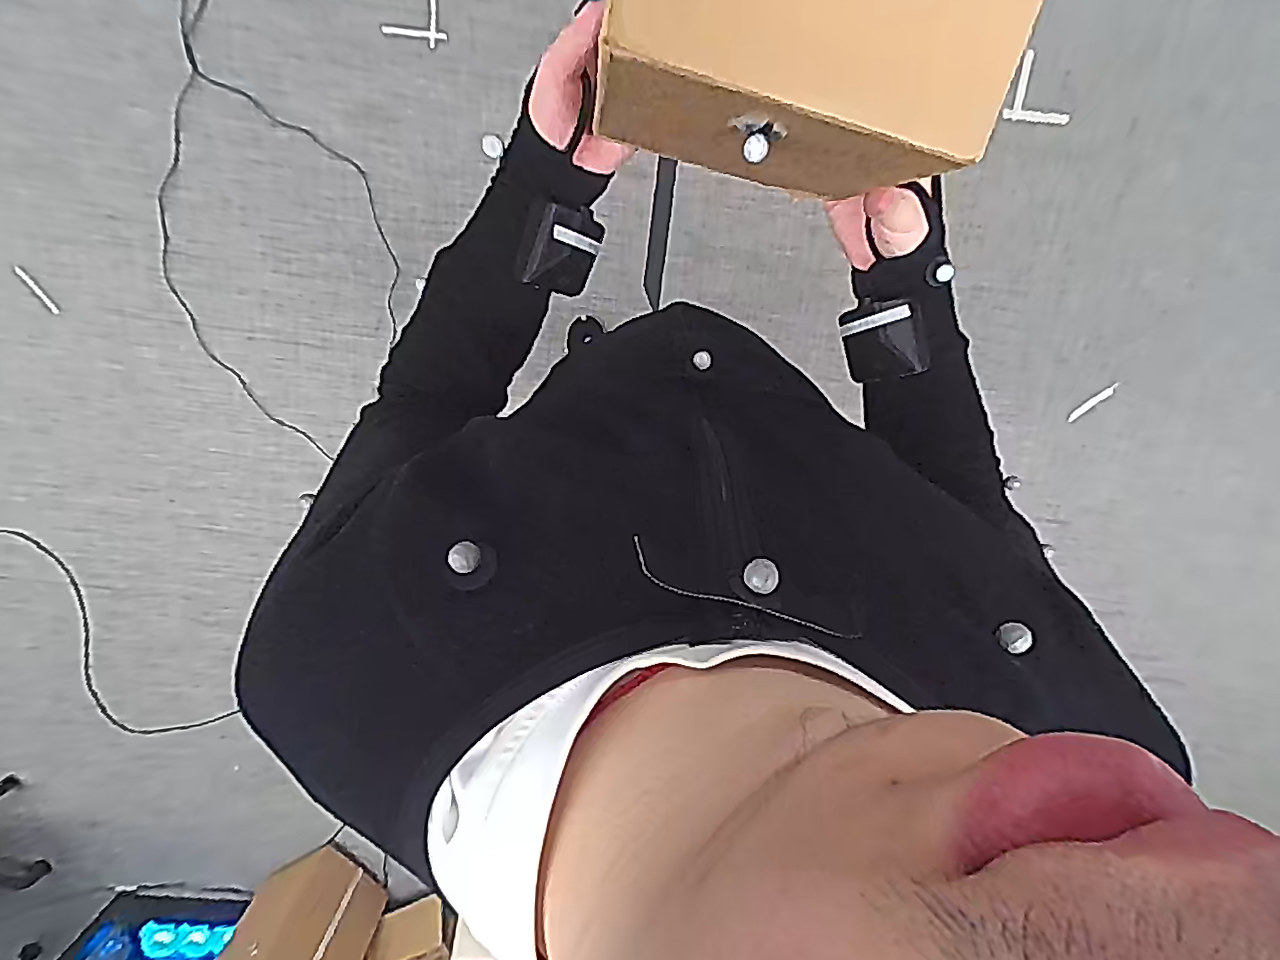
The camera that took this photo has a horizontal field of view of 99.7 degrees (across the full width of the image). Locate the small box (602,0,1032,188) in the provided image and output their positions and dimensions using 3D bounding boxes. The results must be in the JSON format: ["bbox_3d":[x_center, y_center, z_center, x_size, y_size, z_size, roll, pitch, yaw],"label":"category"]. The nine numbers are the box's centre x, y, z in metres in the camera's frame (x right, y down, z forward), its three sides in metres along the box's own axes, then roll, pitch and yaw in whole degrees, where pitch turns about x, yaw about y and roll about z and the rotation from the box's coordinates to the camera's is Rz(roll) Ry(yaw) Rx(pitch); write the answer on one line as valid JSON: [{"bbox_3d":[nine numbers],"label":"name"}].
[{"bbox_3d":[0.081,-0.269,0.283,0.179,0.176,0.168,10,111,-11],"label":"small box"}]
